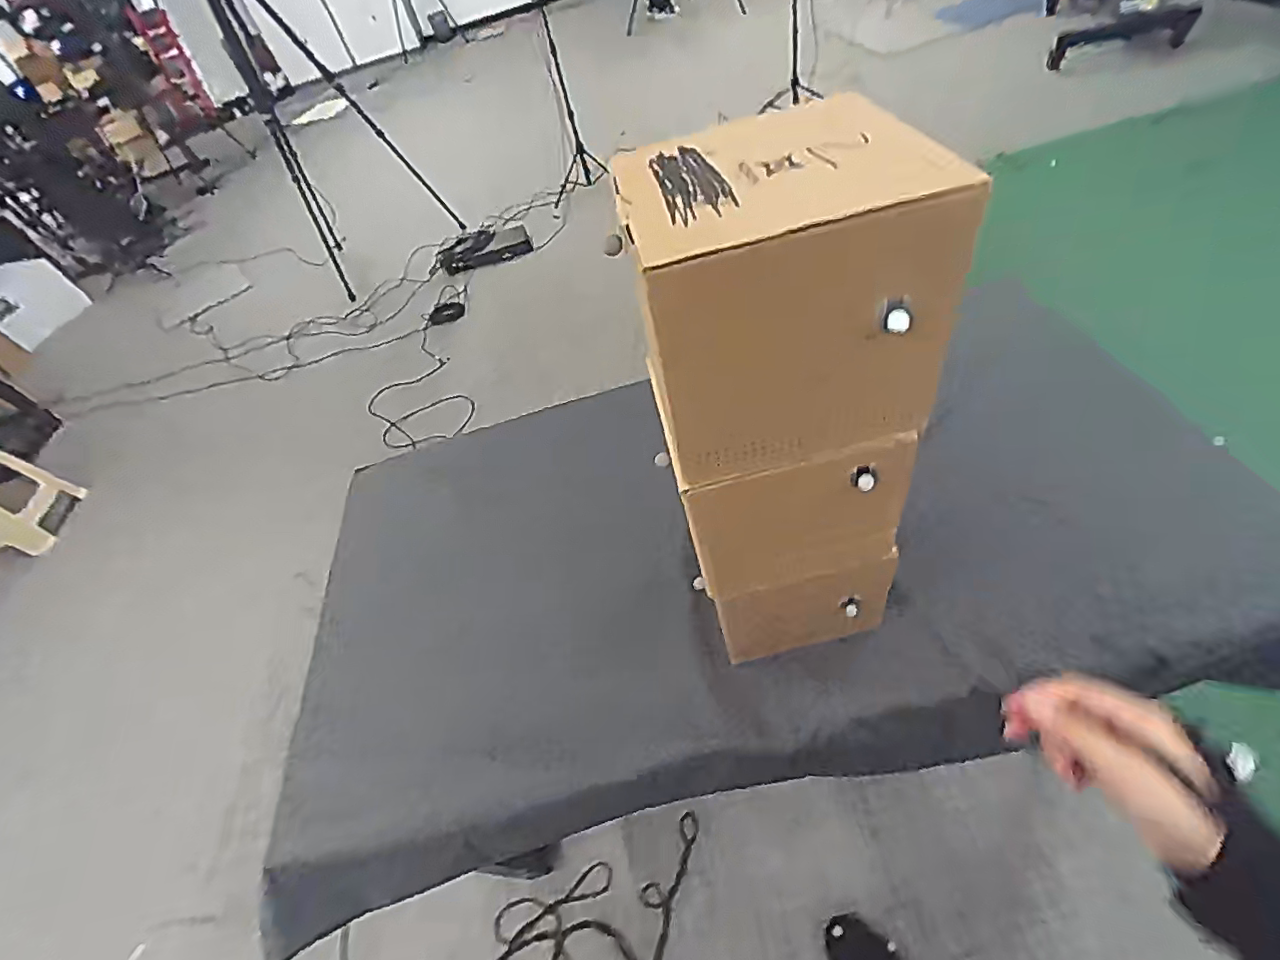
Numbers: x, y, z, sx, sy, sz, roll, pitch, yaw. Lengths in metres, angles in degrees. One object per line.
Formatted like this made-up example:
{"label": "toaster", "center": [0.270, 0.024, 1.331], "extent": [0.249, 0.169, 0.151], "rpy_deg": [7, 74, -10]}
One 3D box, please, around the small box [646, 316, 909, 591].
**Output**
{"label": "small box", "center": [0.116, -0.018, 0.499], "extent": [0.179, 0.176, 0.168], "rpy_deg": [-14, 48, 3]}

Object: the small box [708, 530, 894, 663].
{"label": "small box", "center": [0.159, 0.085, 0.617], "extent": [0.179, 0.176, 0.168], "rpy_deg": [-16, 47, 3]}
